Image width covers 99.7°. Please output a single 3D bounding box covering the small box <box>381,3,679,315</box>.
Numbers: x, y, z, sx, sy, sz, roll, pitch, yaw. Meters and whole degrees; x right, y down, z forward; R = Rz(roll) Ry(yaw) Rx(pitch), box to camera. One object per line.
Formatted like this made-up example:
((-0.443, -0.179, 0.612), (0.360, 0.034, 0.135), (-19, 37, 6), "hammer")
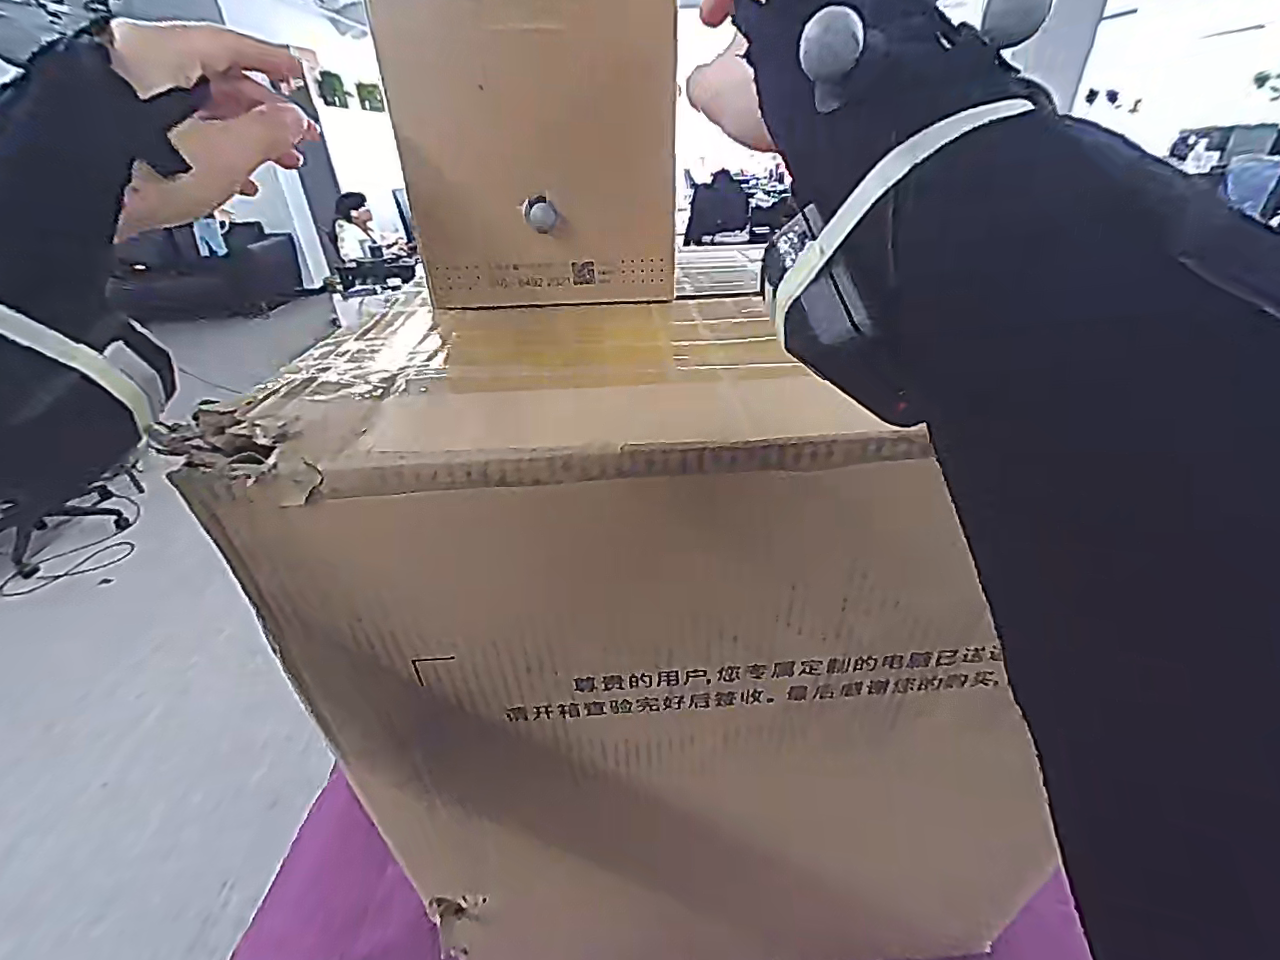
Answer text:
((-0.062, -0.229, 0.406), (0.168, 0.176, 0.179), (-3, 32, -1), "small box")
